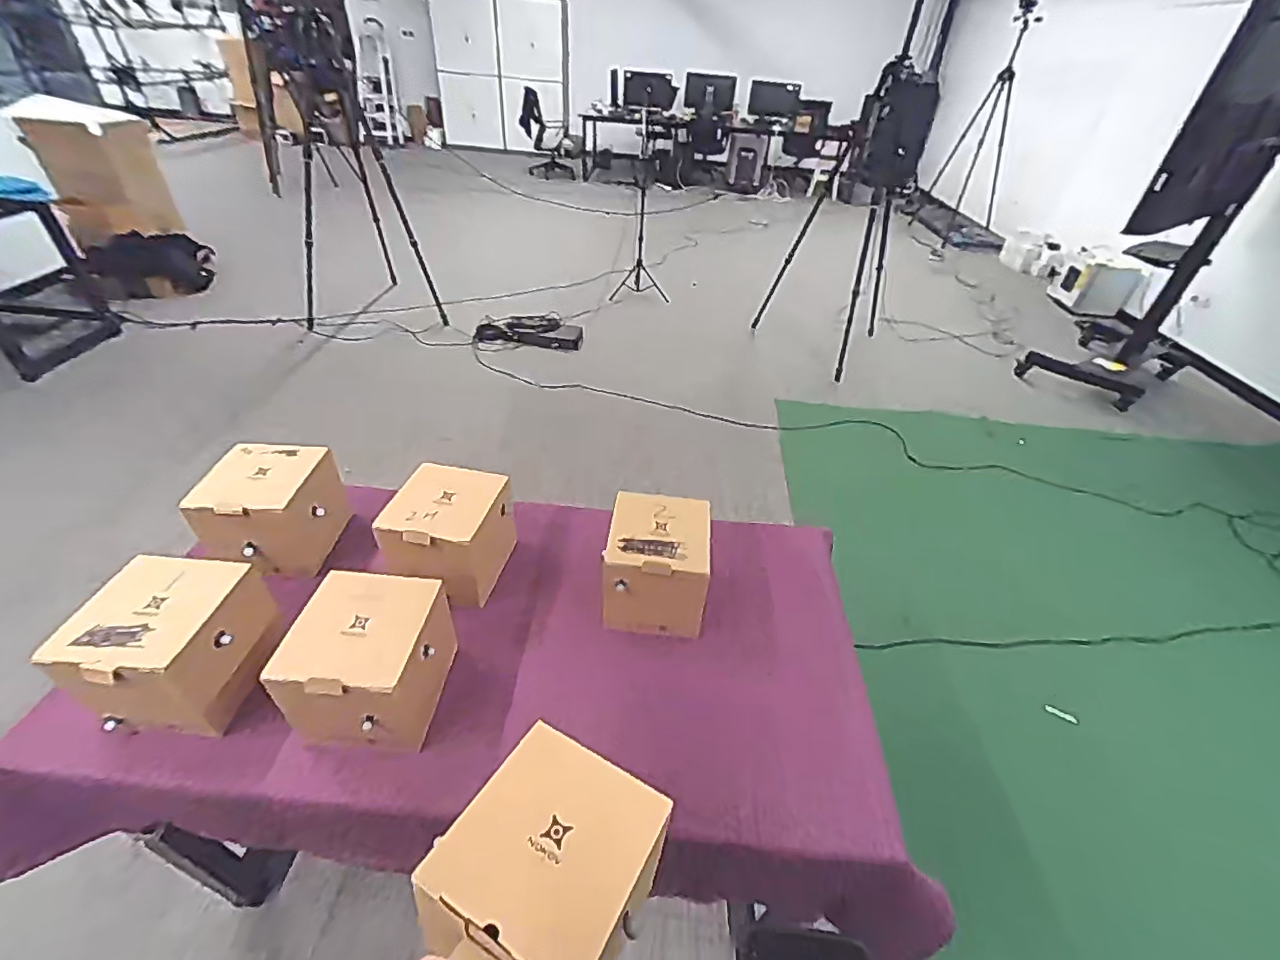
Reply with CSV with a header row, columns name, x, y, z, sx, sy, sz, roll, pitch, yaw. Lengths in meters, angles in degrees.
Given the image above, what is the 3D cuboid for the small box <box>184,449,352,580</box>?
name,x,y,z,sx,sy,sz,roll,pitch,yaw
small box,-0.655,0.064,0.984,0.168,0.176,0.179,3,40,-3

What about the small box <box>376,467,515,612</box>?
name,x,y,z,sx,sy,sz,roll,pitch,yaw
small box,-0.331,0.104,0.964,0.168,0.176,0.179,9,39,7

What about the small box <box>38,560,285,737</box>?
name,x,y,z,sx,sy,sz,roll,pitch,yaw
small box,-0.648,0.239,0.766,0.168,0.176,0.179,5,37,0

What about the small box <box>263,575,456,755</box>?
name,x,y,z,sx,sy,sz,roll,pitch,yaw
small box,-0.374,0.262,0.766,0.168,0.176,0.179,6,38,1

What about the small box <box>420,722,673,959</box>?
name,x,y,z,sx,sy,sz,roll,pitch,yaw
small box,-0.088,0.391,0.531,0.168,0.176,0.179,21,34,21
